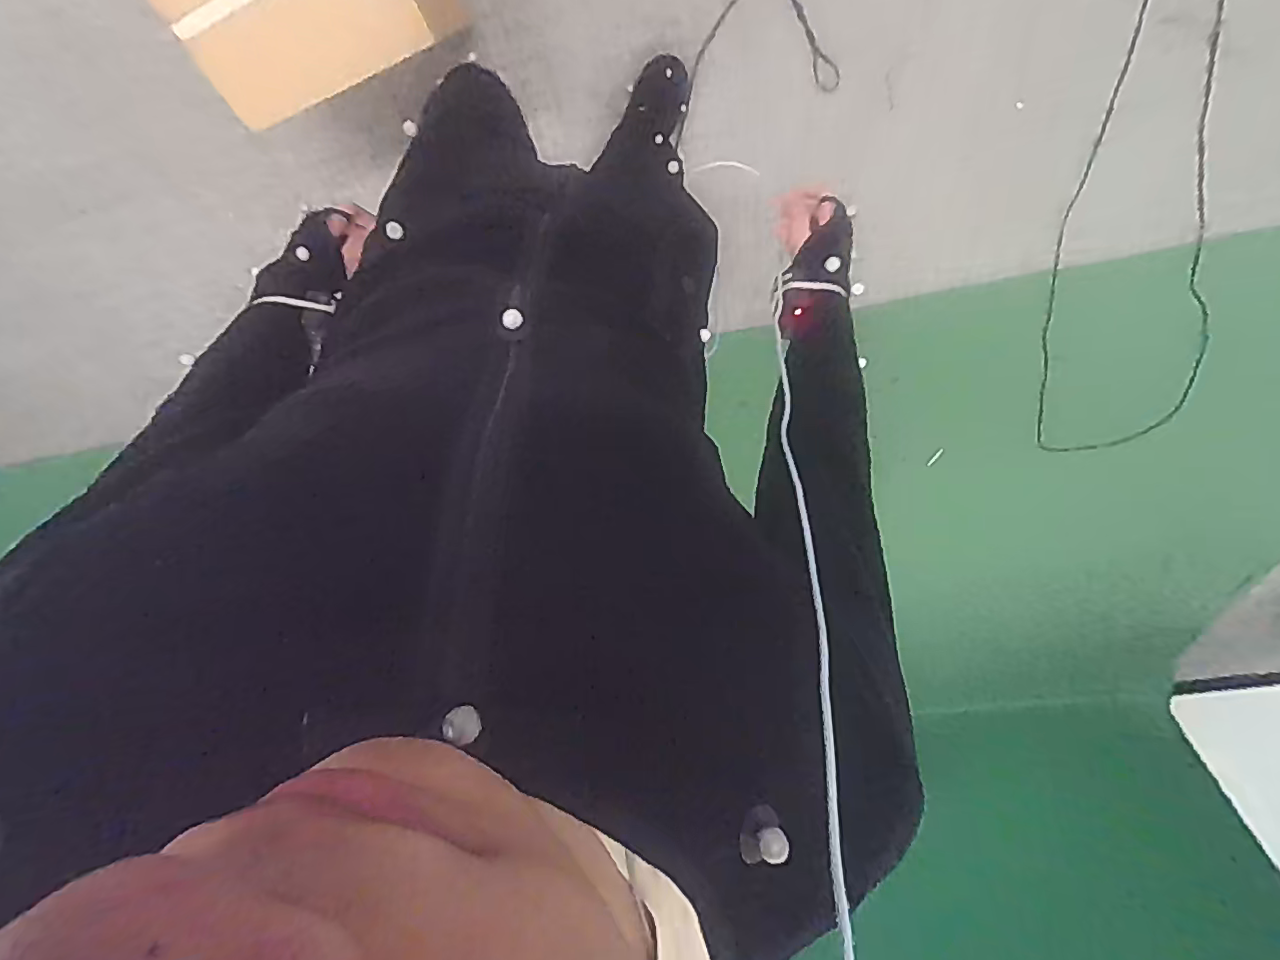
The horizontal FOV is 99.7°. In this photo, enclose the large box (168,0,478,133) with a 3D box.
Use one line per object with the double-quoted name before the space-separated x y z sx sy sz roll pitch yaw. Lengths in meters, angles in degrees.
"large box" -0.569 -0.908 0.973 0.408 0.320 0.320 -14 132 14
